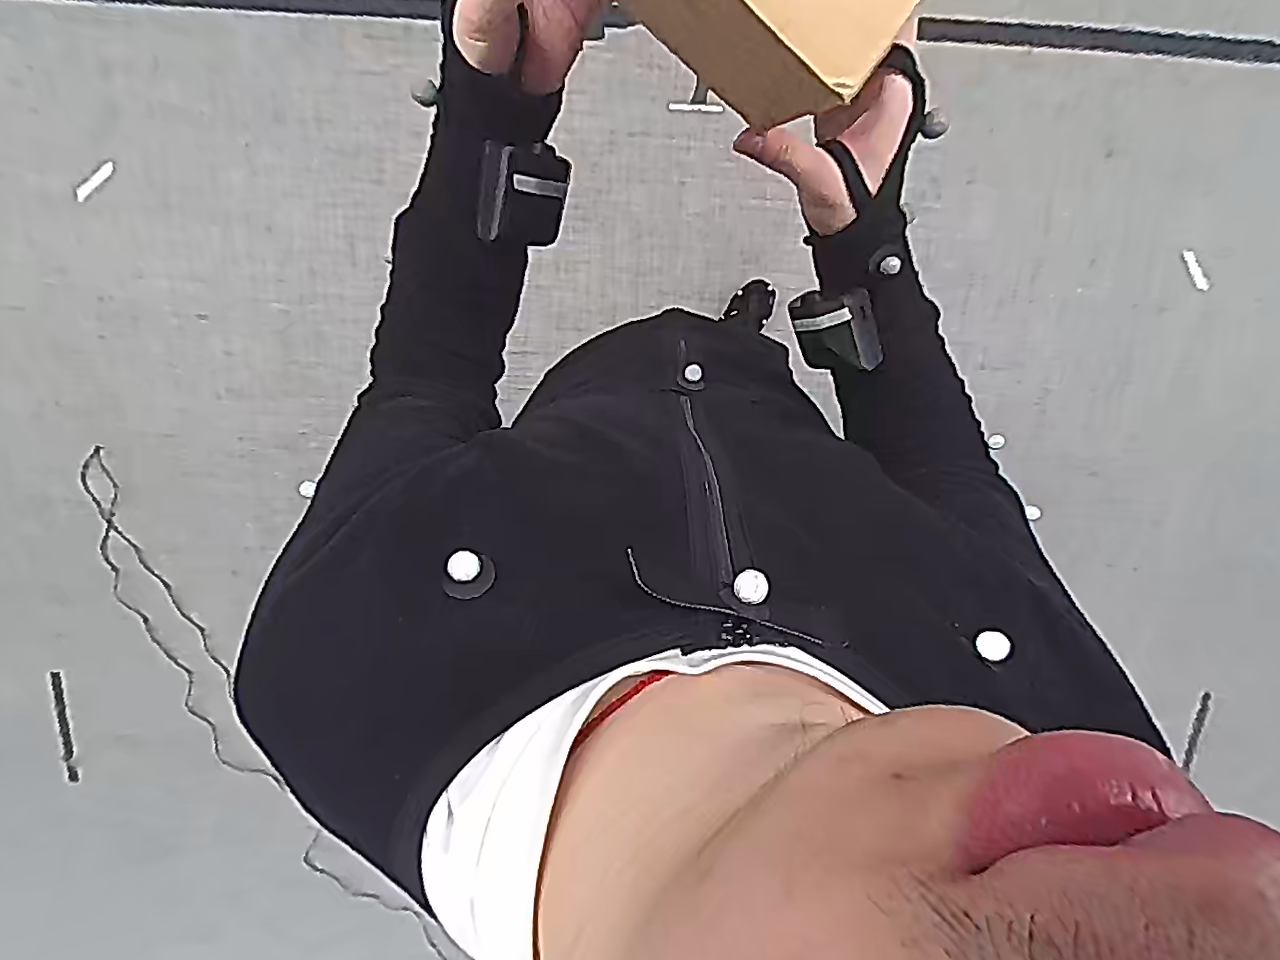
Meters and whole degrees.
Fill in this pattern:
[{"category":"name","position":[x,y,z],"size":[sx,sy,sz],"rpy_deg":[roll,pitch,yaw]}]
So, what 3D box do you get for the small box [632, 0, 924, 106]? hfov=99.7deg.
[{"category":"small box","position":[0.053,-0.278,0.207],"size":[0.179,0.176,0.168],"rpy_deg":[31,116,-18]}]
